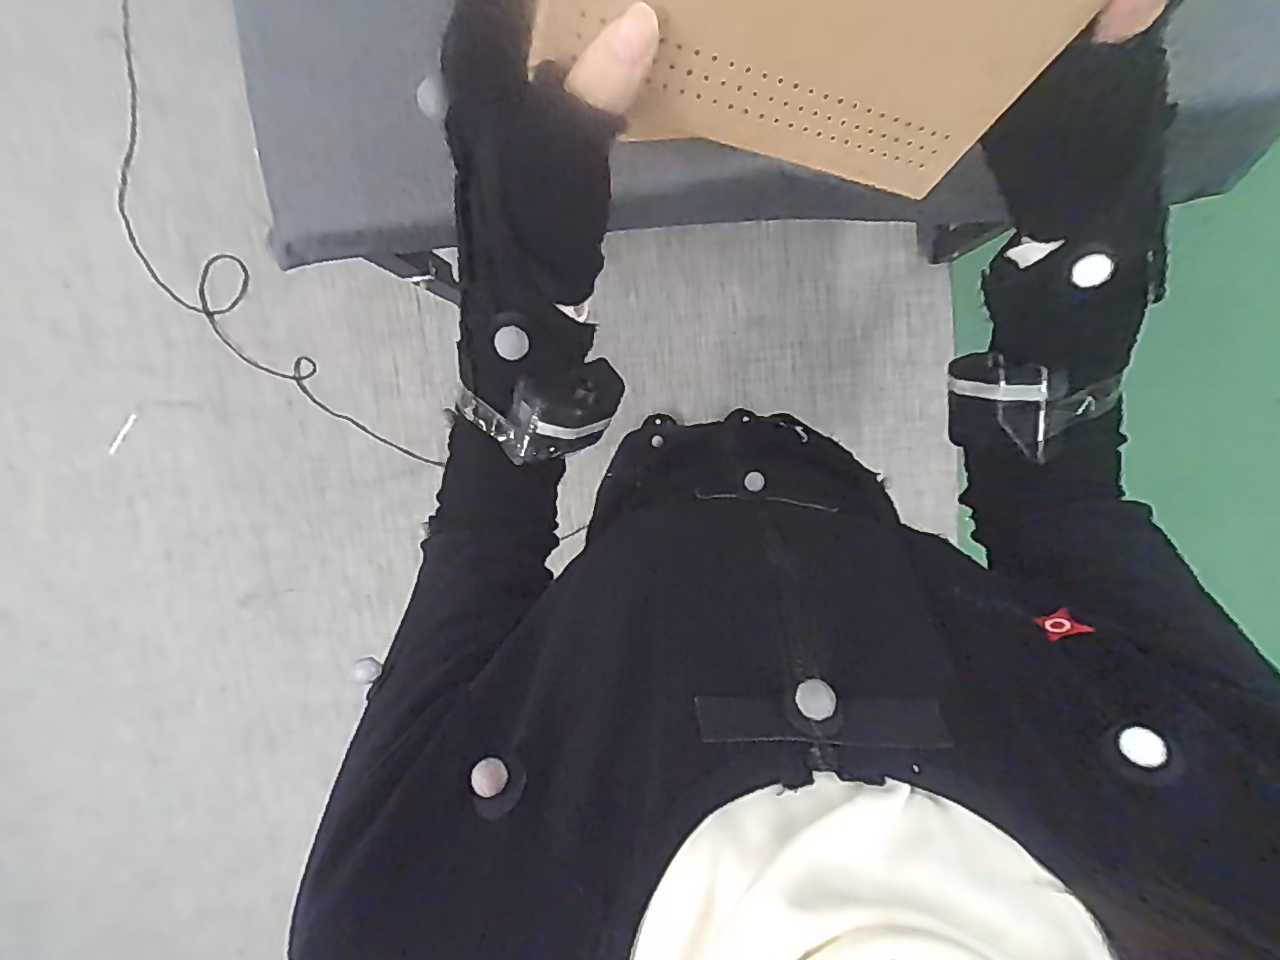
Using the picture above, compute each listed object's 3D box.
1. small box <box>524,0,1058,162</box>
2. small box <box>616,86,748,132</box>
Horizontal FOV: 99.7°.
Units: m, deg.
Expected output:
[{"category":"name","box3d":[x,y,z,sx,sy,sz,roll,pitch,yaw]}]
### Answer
[{"category":"small box","box3d":[0.063,-0.243,0.175,0.179,0.176,0.168,2,67,-19]},{"category":"small box","box3d":[0.057,-0.490,0.560,0.179,0.176,0.168,-2,96,3]}]
